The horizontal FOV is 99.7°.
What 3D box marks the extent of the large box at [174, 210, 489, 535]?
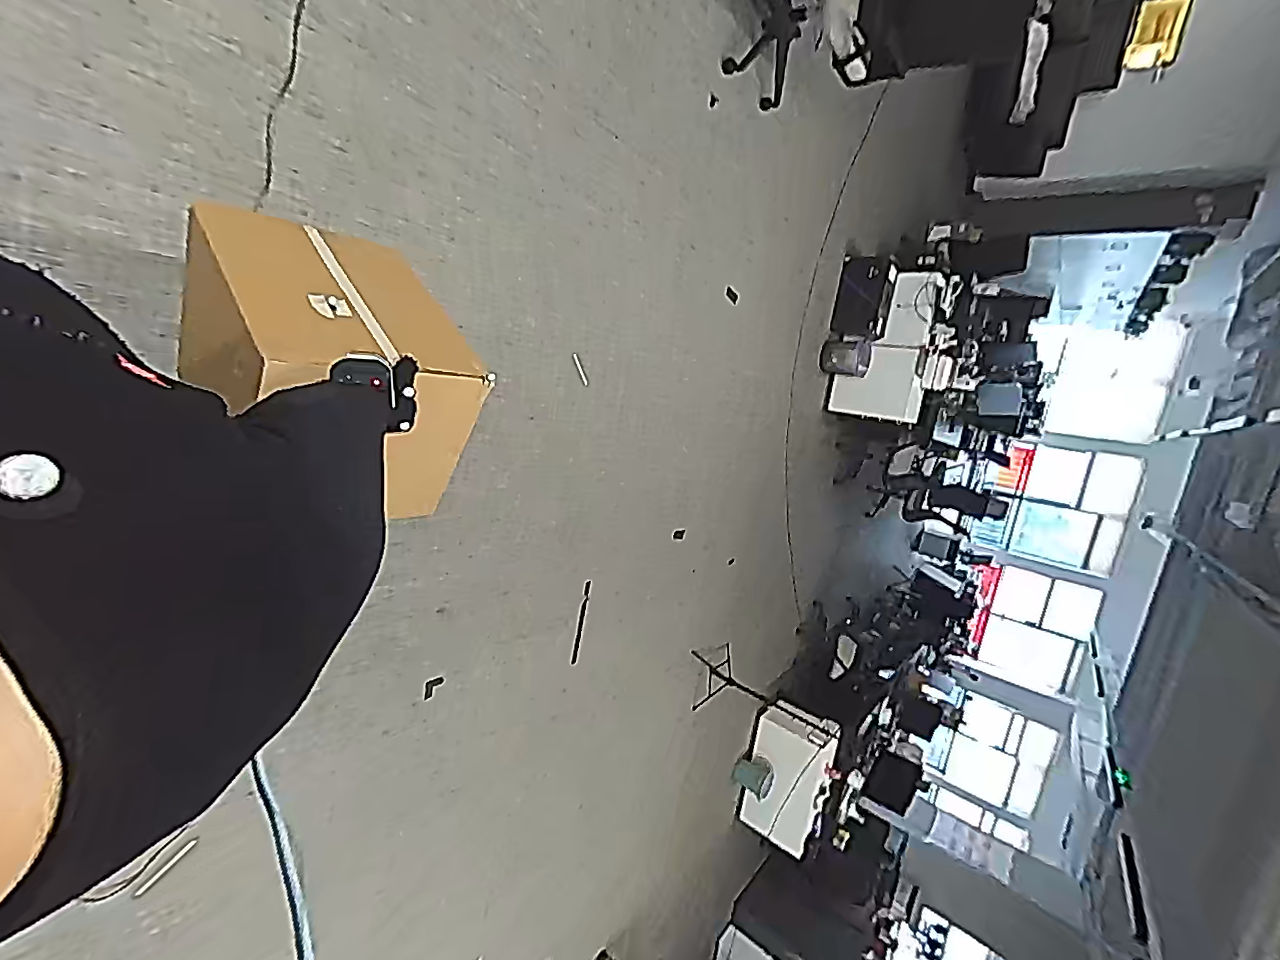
[{"bbox_3d":[-0.532,-0.171,0.913,0.320,0.408,0.320,-7,140,-50],"label":"large box"}]
